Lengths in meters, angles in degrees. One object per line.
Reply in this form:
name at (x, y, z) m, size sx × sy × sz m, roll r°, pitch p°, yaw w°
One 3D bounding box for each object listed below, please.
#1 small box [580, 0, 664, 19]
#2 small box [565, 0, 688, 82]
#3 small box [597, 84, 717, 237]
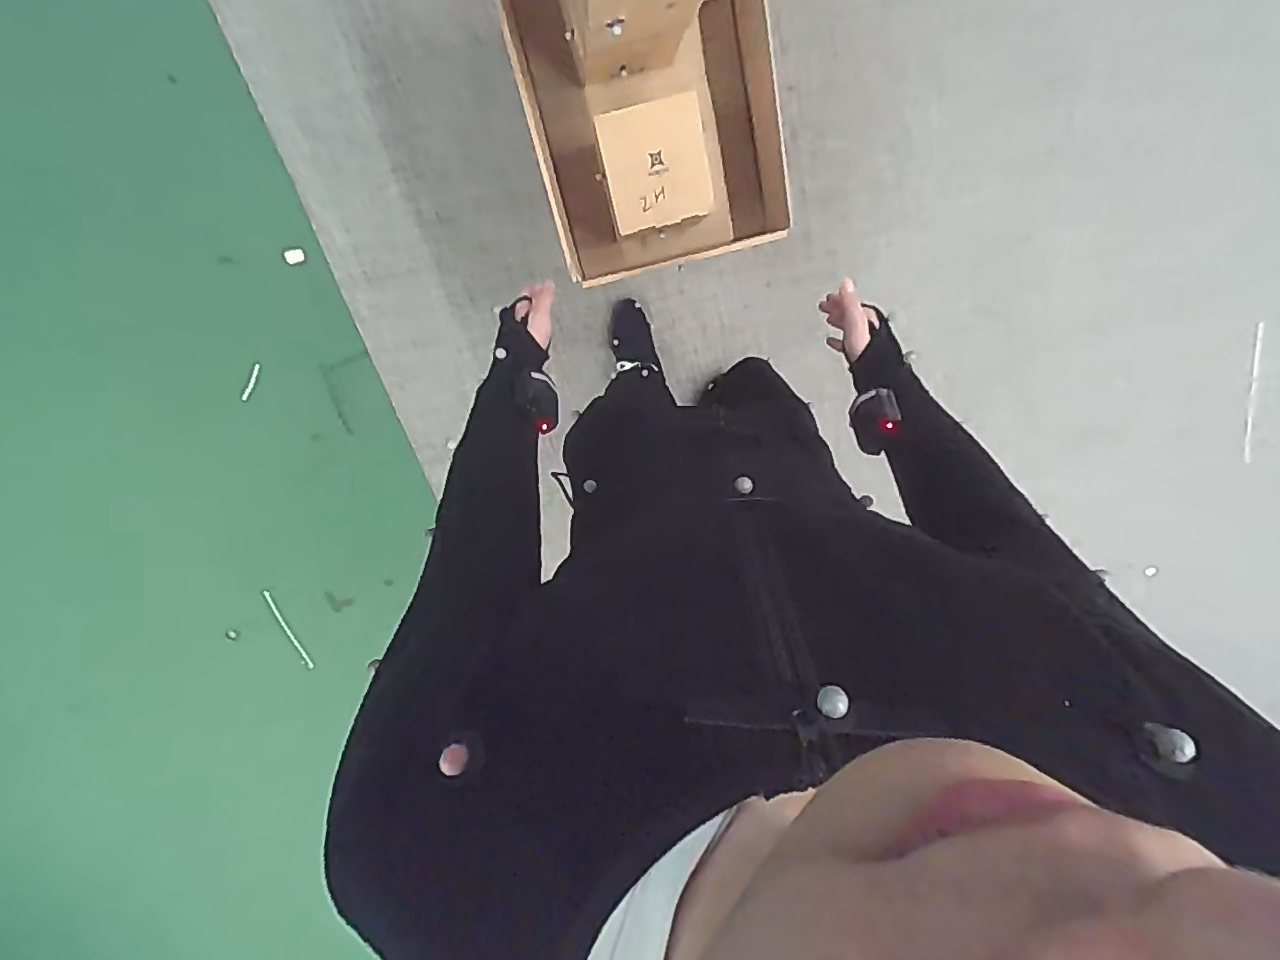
small box at (-0.005, -0.614, 0.549) m, size 0.168 × 0.176 × 0.179 m, roll -17°, pitch 113°, yaw 3°
small box at (-0.033, -0.763, 0.842) m, size 0.168 × 0.176 × 0.179 m, roll -15°, pitch 114°, yaw 2°
small box at (0.025, -0.532, 0.926) m, size 0.168 × 0.176 × 0.179 m, roll -13°, pitch 110°, yaw 2°
